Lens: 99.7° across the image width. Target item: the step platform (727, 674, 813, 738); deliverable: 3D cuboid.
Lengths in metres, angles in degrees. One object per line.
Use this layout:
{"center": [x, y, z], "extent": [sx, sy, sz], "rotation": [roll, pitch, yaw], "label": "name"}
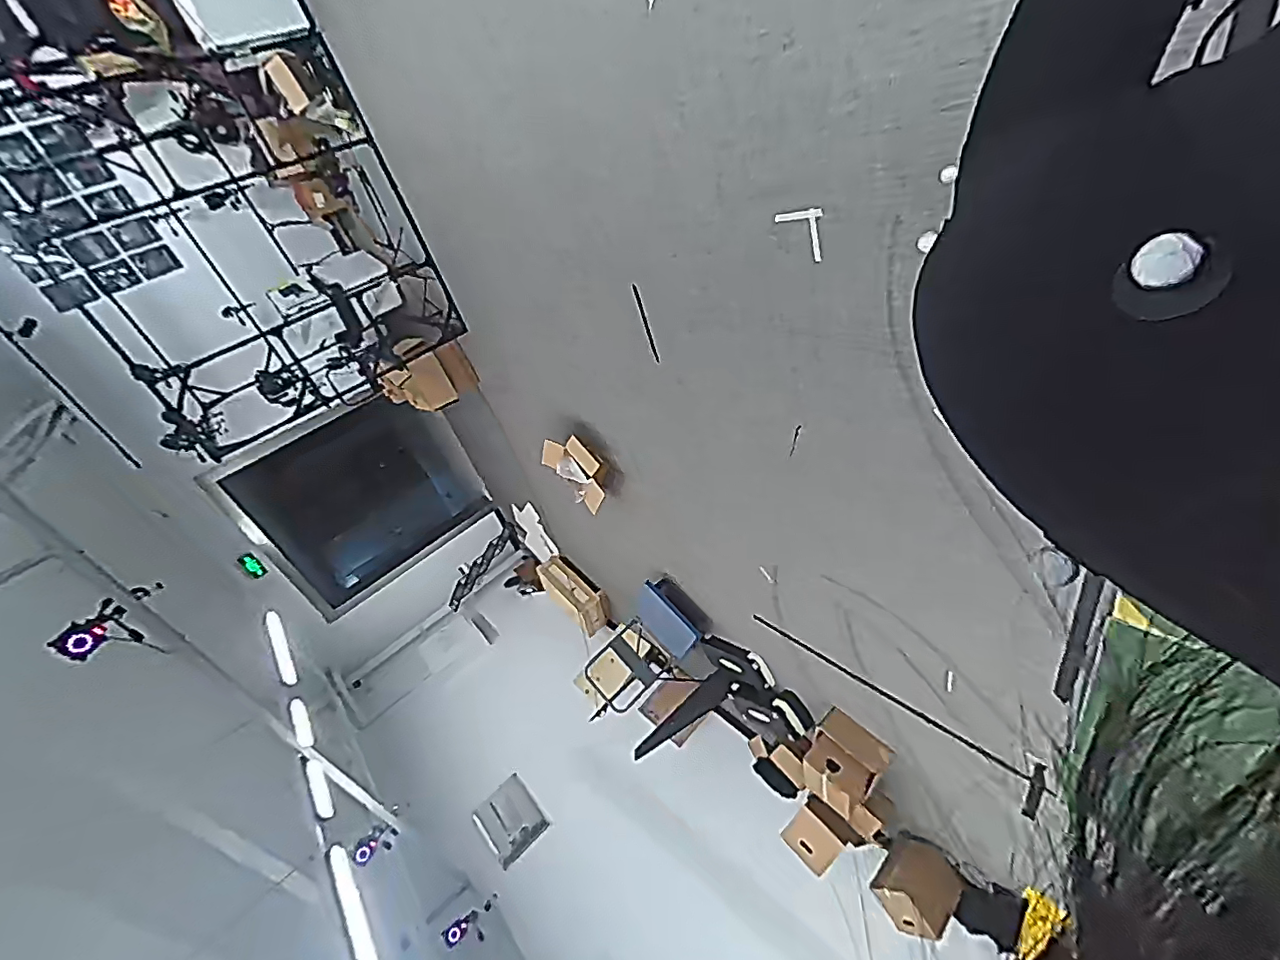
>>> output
{"center": [0.934, 1.657, 3.986], "extent": [0.286, 0.204, 0.684], "rotation": [56, 155, -7], "label": "step platform"}
